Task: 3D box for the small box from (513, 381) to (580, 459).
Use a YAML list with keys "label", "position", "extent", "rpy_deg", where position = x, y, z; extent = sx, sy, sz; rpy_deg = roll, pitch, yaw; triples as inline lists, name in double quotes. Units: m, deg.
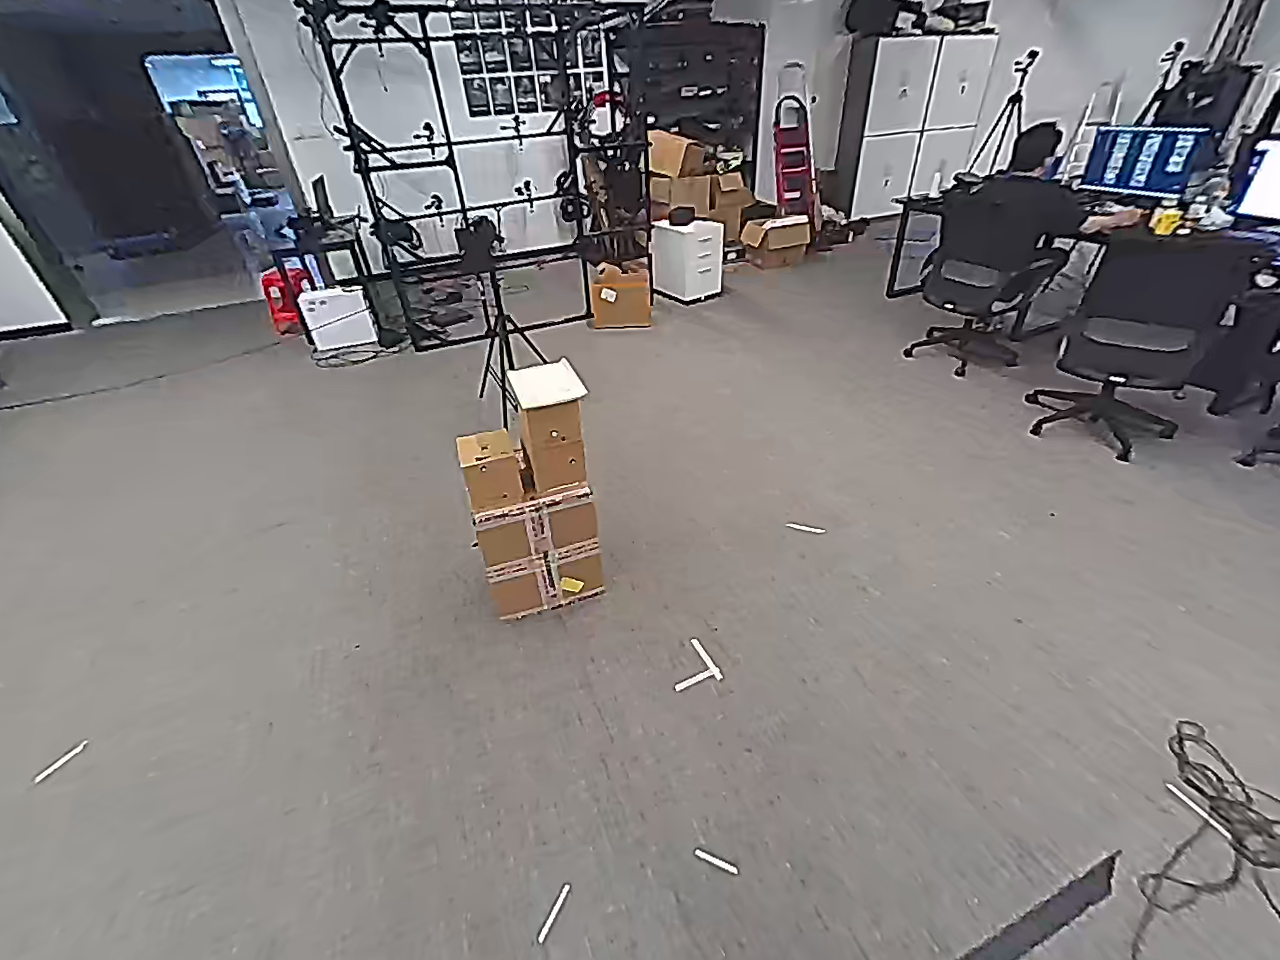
- label: "small box"
  position: [-0.292, -0.188, 1.696]
  extent: [0.168, 0.176, 0.179]
  rpy_deg: [-14, 39, -17]
